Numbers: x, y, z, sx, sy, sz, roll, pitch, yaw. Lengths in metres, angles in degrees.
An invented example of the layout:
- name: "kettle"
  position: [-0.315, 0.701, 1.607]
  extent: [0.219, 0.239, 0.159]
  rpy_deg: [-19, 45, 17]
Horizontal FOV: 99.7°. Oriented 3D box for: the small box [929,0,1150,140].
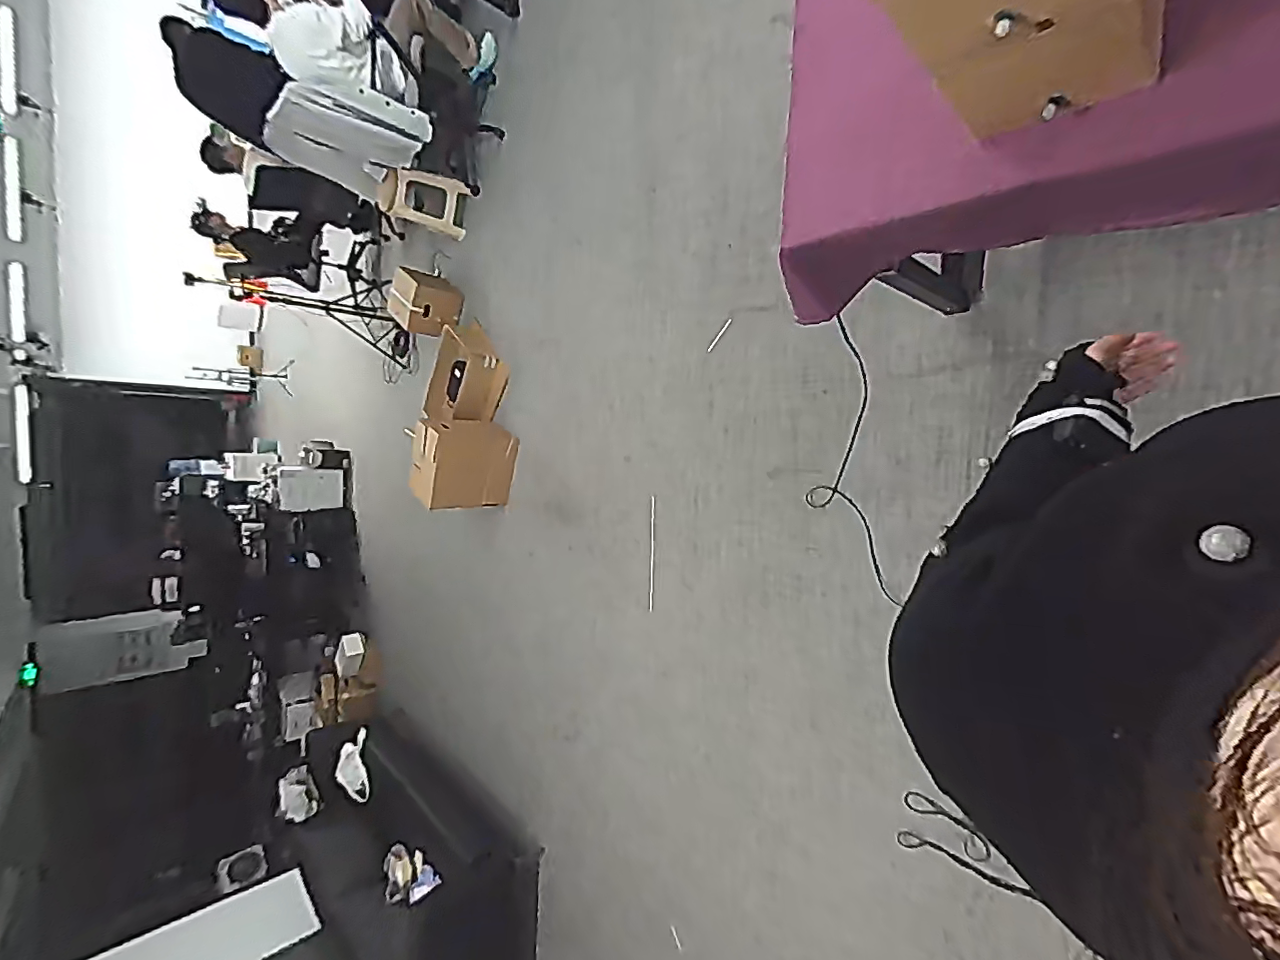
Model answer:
- name: "small box"
  position: [0.447, -0.522, 0.601]
  extent: [0.179, 0.176, 0.168]
  rpy_deg: [5, 94, 46]
